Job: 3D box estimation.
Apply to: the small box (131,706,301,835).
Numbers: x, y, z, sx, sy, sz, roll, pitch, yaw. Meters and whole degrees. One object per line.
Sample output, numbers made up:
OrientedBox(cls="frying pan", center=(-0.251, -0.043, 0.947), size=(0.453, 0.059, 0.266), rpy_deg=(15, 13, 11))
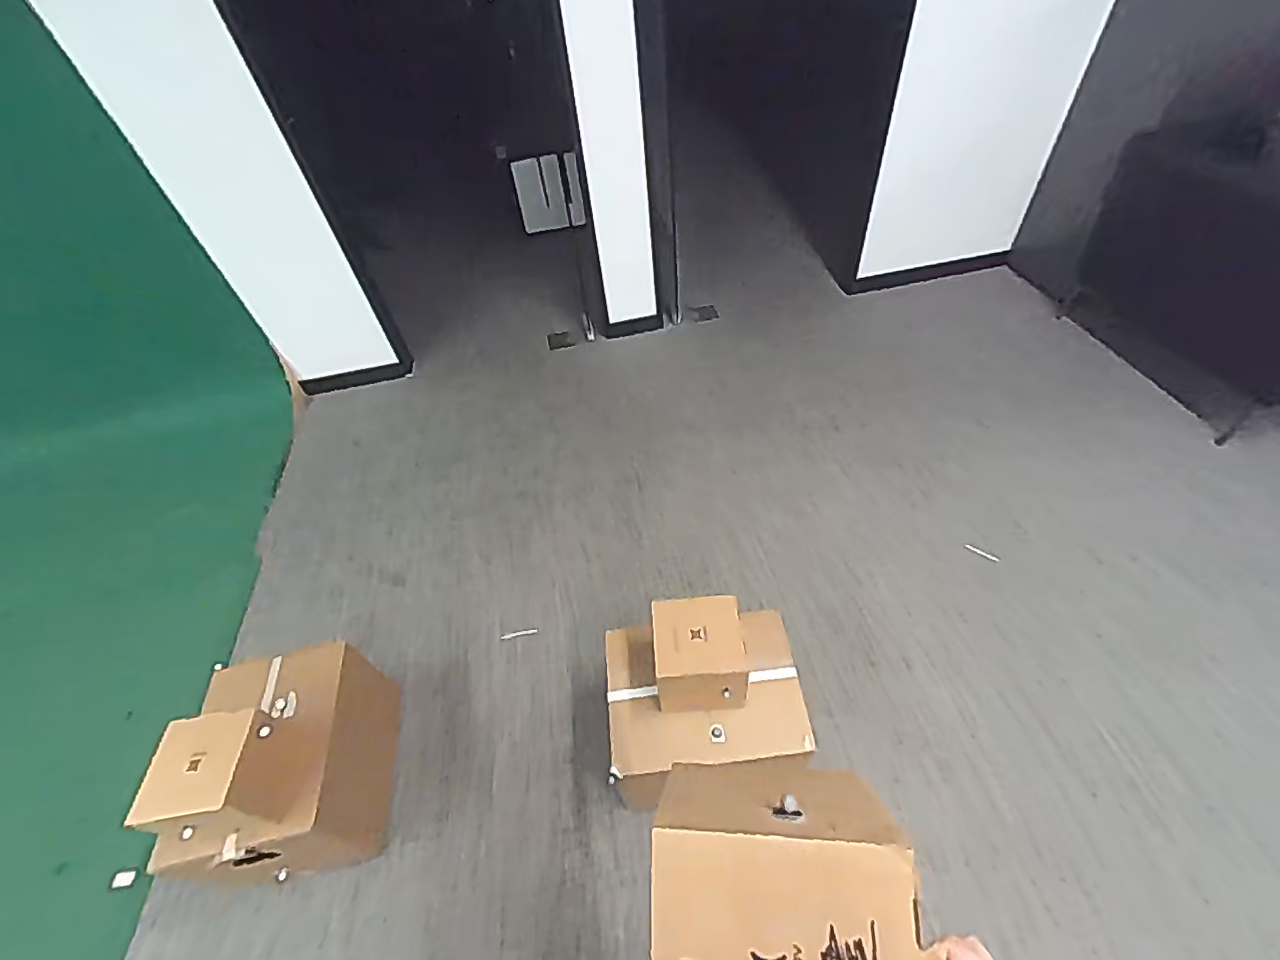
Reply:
OrientedBox(cls="small box", center=(-0.789, 0.560, 1.034), size=(0.168, 0.176, 0.179), rpy_deg=(-9, 47, -2))

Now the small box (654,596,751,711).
OrientedBox(cls="small box", center=(0.121, 0.356, 1.104), size=(0.179, 0.176, 0.168), rpy_deg=(-5, 45, 3))

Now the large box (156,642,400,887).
OrientedBox(cls="large box", center=(-0.796, 0.664, 1.273), size=(0.320, 0.320, 0.408), rpy_deg=(-12, 47, -3))
